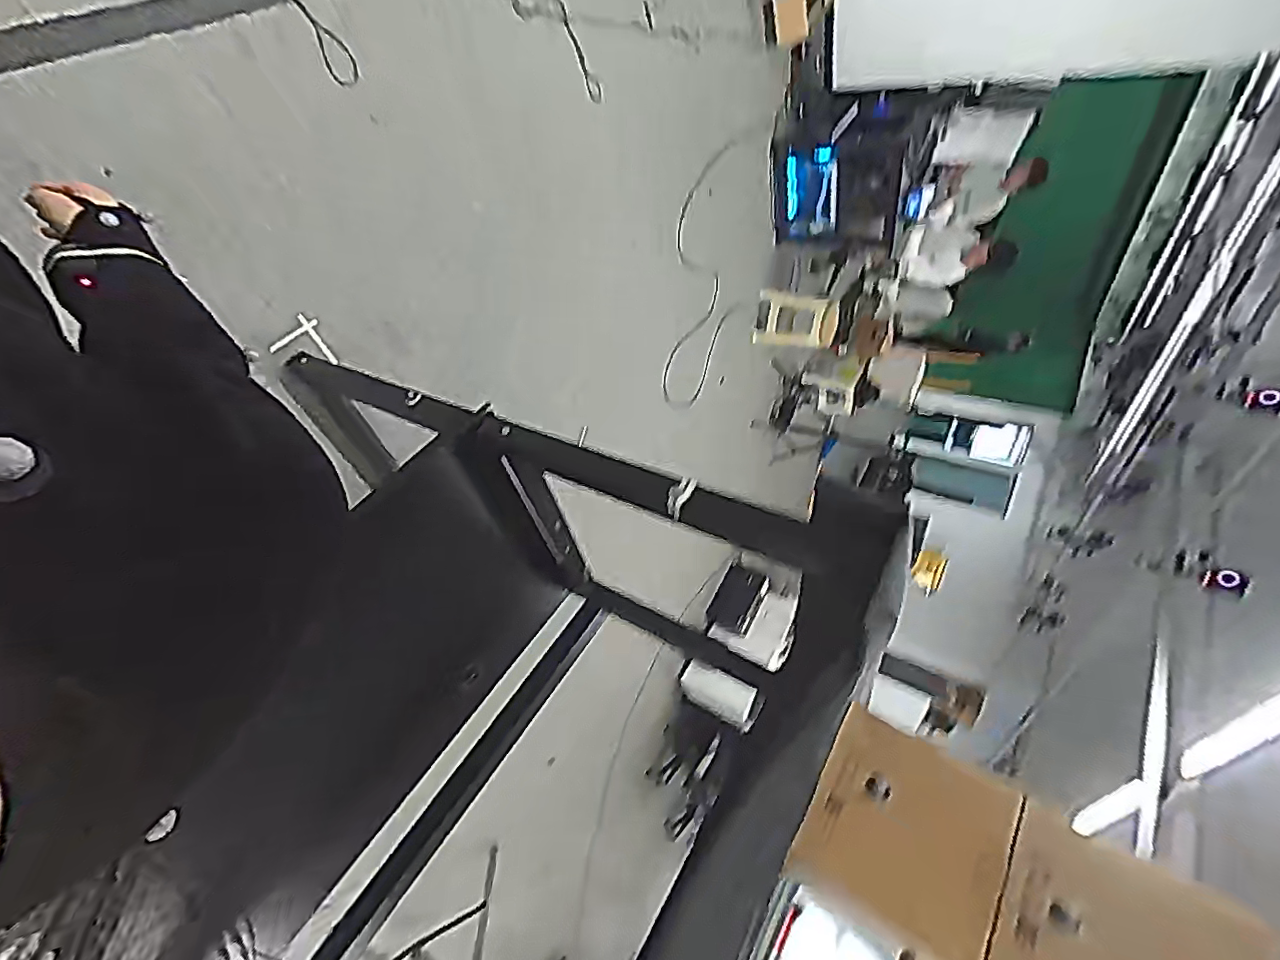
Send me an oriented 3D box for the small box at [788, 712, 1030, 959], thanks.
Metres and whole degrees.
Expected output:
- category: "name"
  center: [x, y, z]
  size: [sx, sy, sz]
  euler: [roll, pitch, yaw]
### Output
- category: "small box"
  center: [0.266, 0.377, 0.566]
  size: [0.168, 0.176, 0.179]
  euler: [-50, 146, -28]
